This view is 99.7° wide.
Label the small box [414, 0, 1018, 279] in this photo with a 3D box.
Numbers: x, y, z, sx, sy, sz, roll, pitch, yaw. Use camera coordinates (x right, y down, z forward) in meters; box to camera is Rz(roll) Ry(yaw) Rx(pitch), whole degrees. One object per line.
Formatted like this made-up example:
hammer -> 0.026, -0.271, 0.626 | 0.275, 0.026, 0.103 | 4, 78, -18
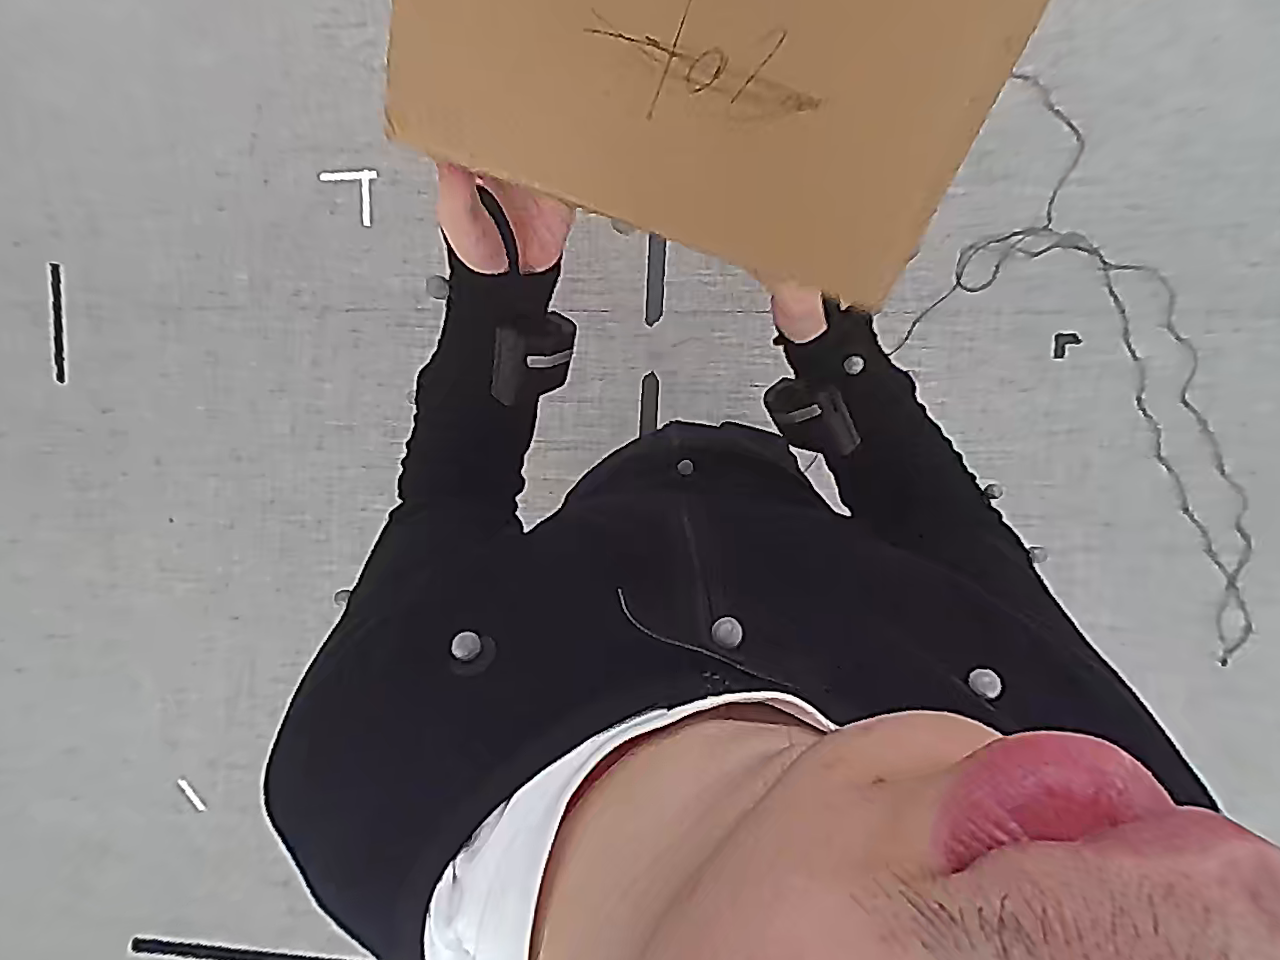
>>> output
small box -> 0.031, -0.199, 0.208 | 0.168, 0.176, 0.179 | 13, 119, -4
